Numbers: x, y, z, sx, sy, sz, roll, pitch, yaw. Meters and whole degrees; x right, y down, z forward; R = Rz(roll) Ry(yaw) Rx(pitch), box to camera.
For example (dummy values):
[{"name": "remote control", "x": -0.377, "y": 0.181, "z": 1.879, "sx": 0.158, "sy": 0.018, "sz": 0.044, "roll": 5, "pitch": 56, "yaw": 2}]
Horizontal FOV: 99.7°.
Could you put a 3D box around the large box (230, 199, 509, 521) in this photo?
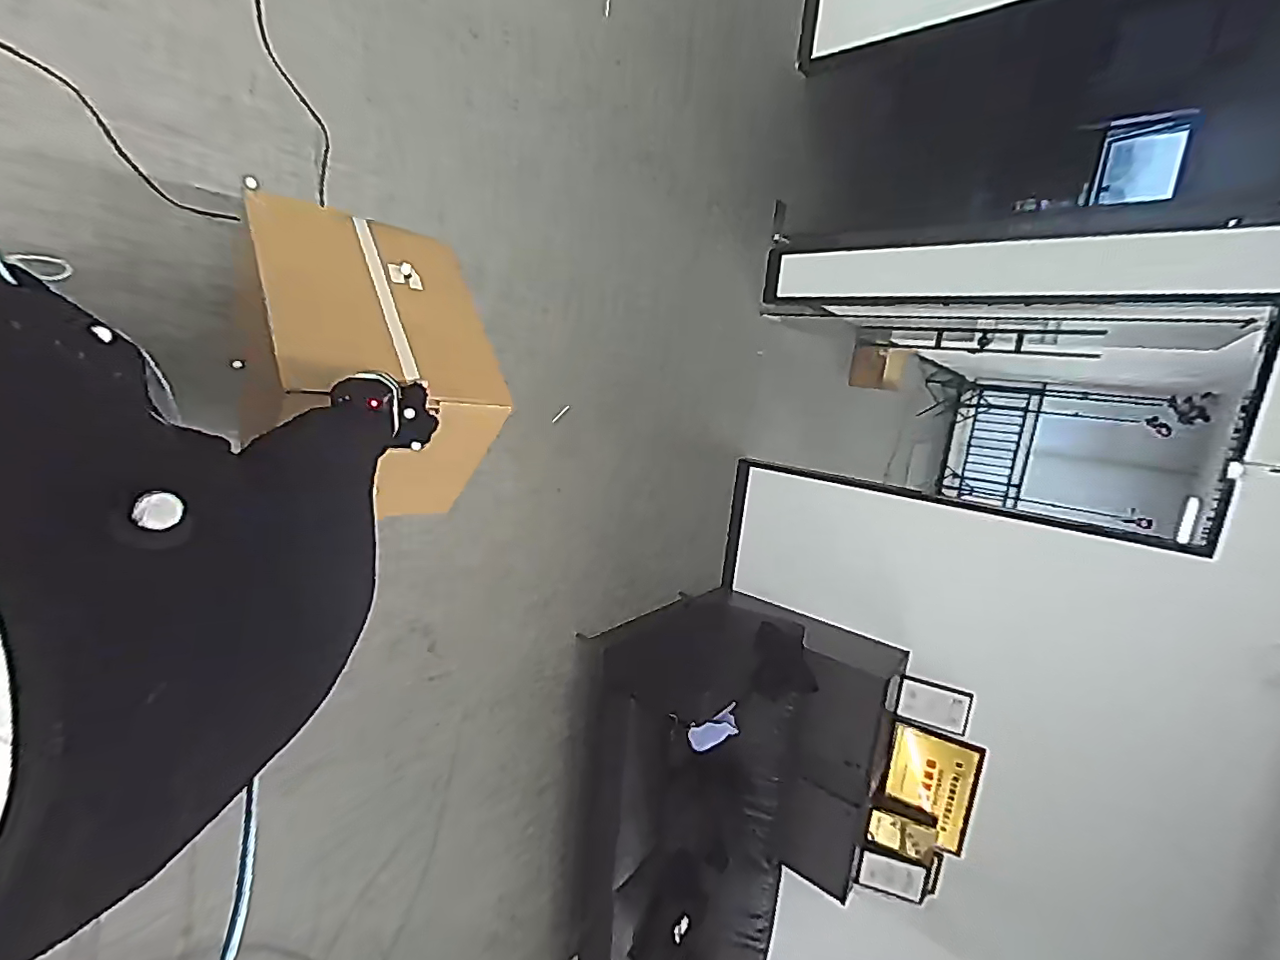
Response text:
[{"name": "large box", "x": -0.483, "y": -0.187, "z": 0.932, "sx": 0.320, "sy": 0.408, "sz": 0.320, "roll": -3, "pitch": 146, "yaw": -44}]
